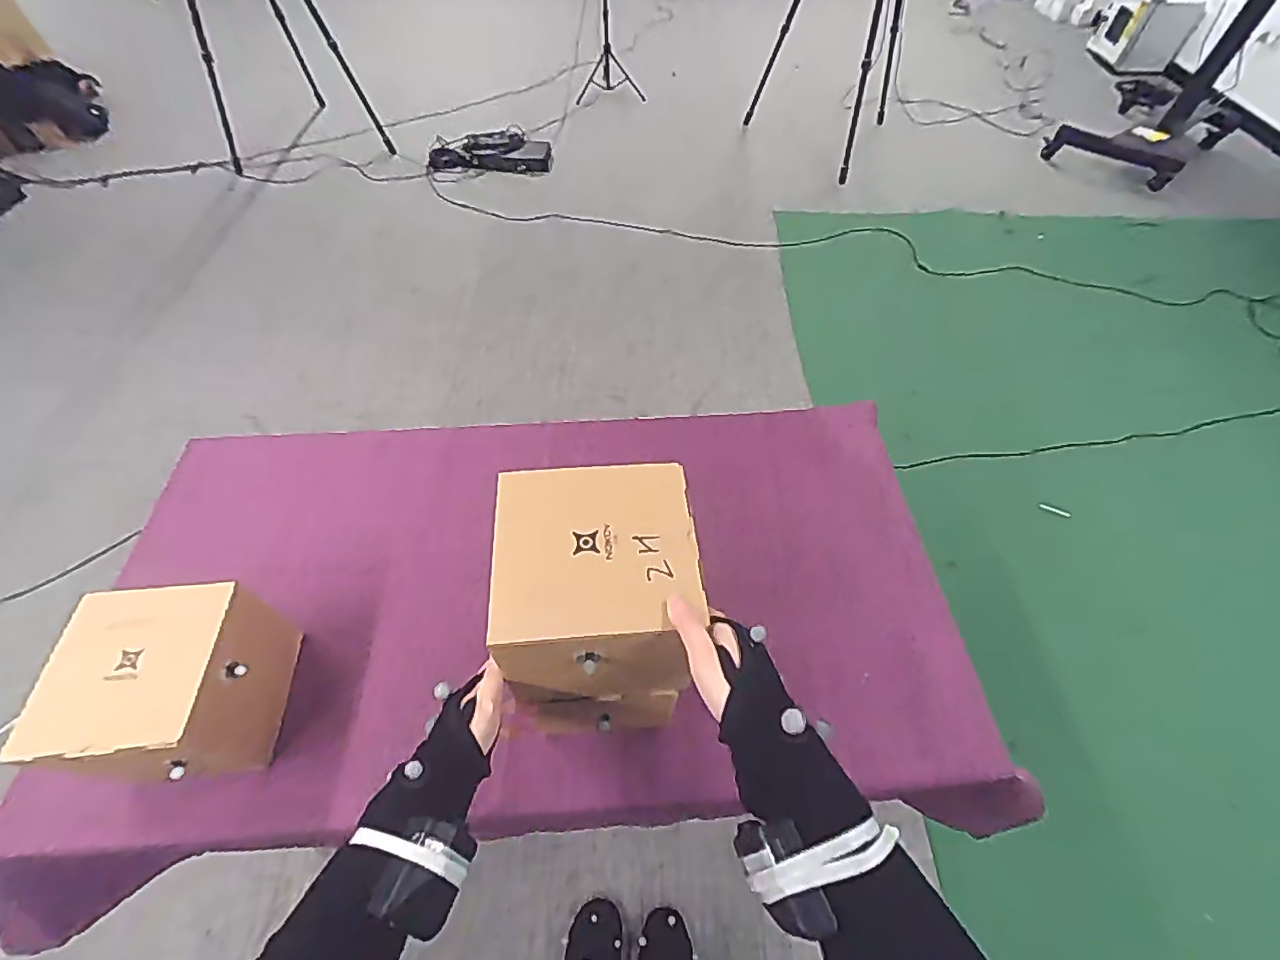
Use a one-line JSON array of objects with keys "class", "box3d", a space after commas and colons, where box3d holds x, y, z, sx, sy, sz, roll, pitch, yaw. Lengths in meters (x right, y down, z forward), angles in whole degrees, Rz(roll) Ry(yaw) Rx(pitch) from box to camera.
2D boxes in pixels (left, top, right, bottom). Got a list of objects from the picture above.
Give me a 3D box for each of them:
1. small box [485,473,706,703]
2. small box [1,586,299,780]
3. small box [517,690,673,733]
[{"class": "small box", "box3d": [-0.042, 0.110, 0.528, 0.179, 0.176, 0.168, -2, 54, -5]}, {"class": "small box", "box3d": [-0.537, 0.242, 0.632, 0.168, 0.176, 0.179, -3, 54, -4]}, {"class": "small box", "box3d": [-0.050, 0.207, 0.667, 0.168, 0.176, 0.179, -2, 55, -3]}]
